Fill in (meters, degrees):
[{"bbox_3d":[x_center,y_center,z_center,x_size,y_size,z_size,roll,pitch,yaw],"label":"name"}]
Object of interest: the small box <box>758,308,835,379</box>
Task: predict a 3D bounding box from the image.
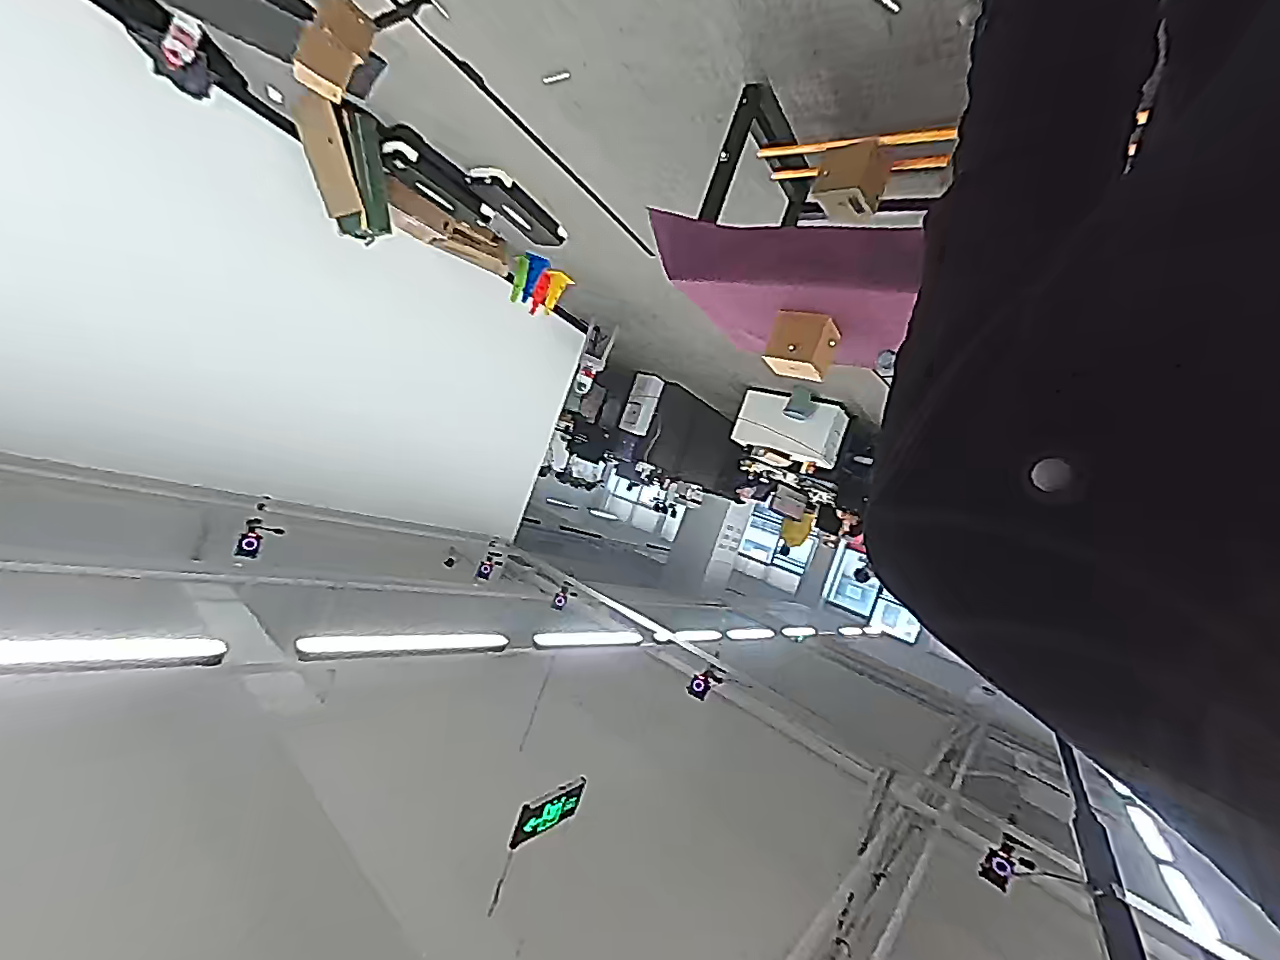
[{"bbox_3d":[0.524,-0.458,1.799,0.179,0.176,0.168,19,179,33],"label":"small box"}]
